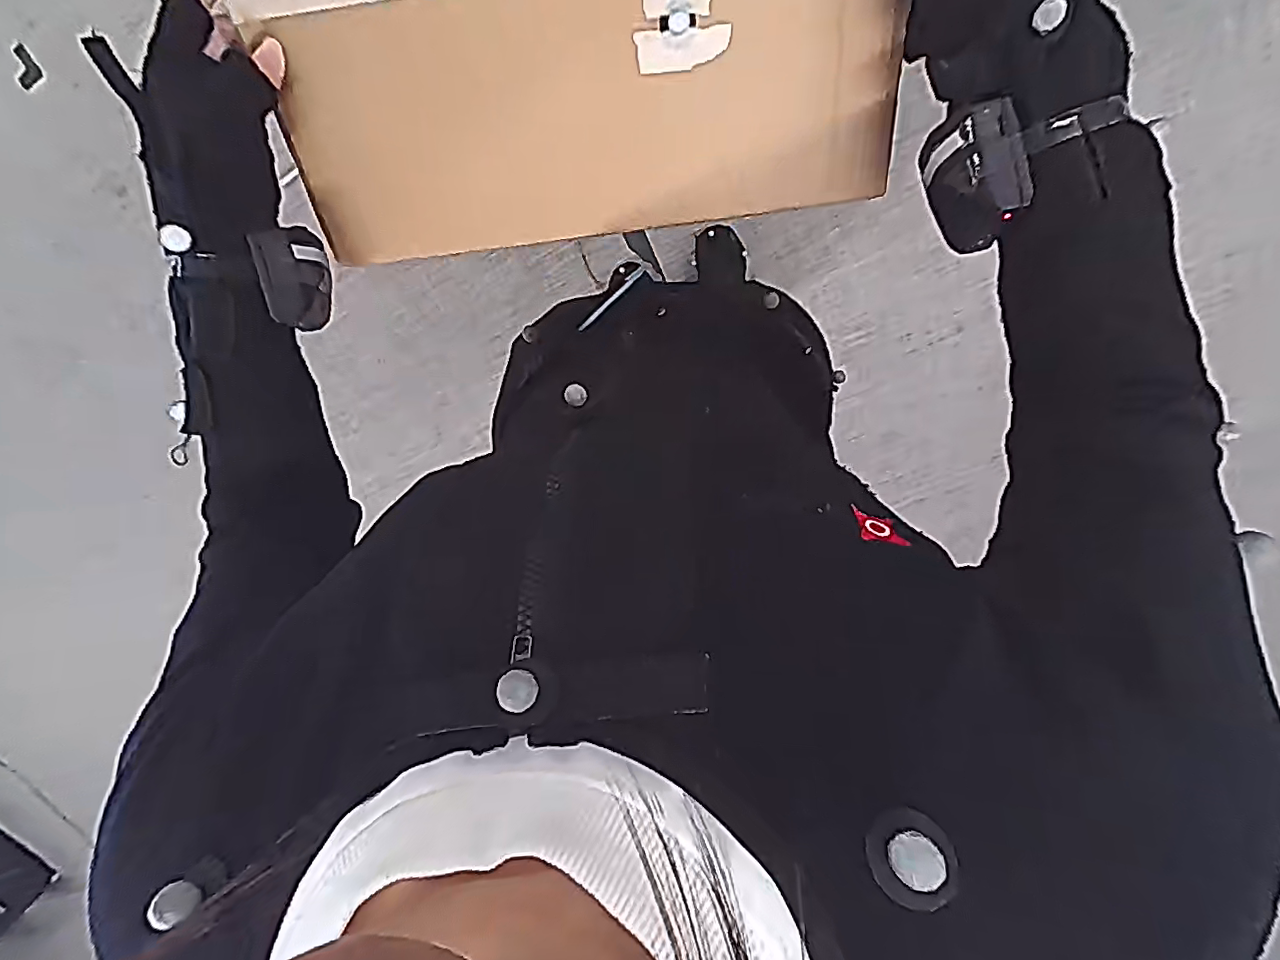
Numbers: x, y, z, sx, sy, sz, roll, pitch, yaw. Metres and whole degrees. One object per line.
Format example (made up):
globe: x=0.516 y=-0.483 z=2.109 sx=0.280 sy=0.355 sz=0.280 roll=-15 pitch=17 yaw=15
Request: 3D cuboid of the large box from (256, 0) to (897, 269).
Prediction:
large box: x=-0.045 y=-0.395 z=0.449 sx=0.408 sy=0.320 sz=0.320 roll=-7 pitch=124 yaw=4
